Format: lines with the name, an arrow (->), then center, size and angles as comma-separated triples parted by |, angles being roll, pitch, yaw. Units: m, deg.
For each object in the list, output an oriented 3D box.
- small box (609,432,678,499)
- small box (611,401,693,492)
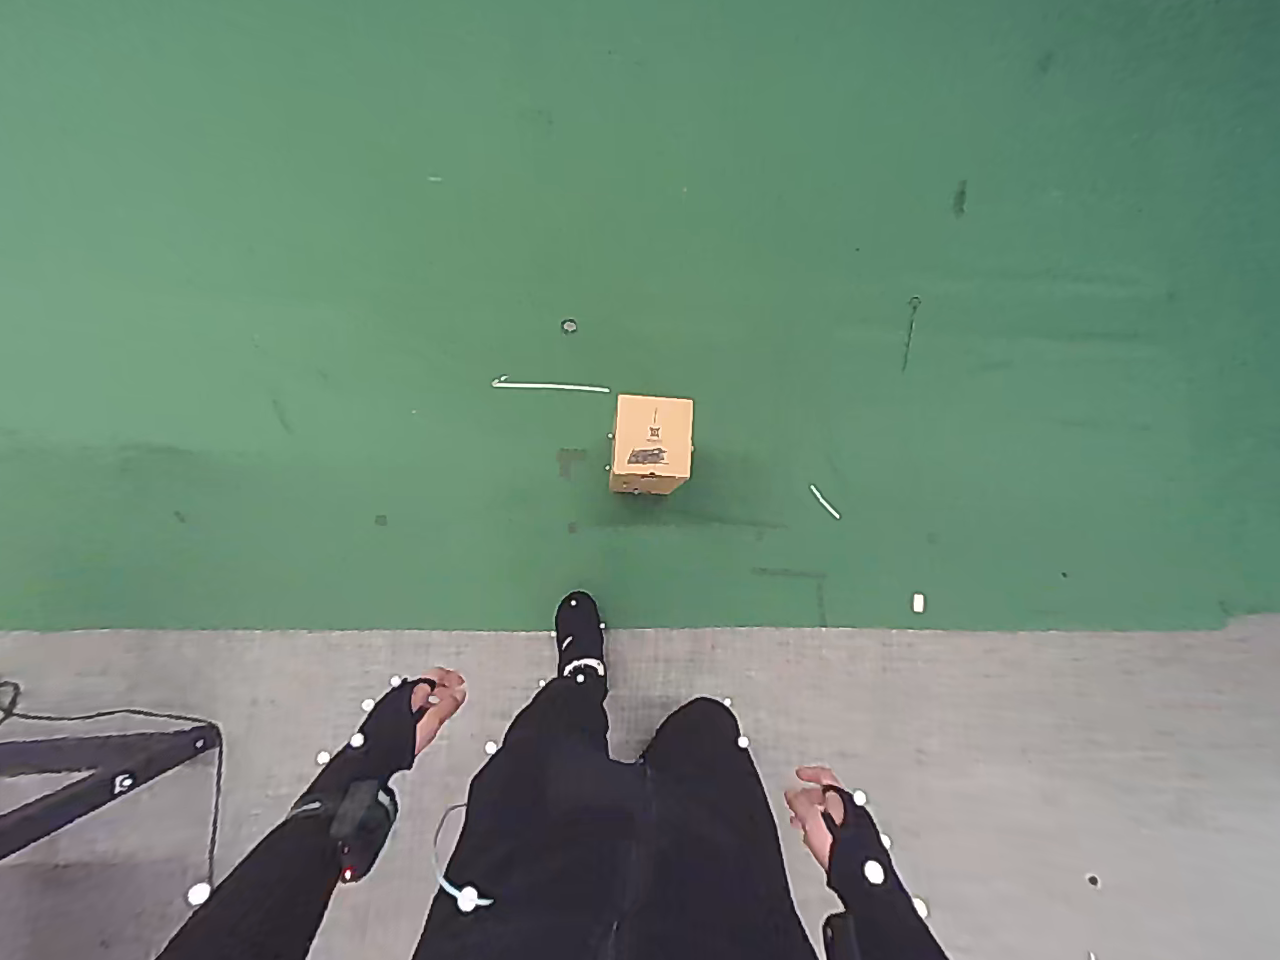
small box -> 0.008, -0.048, 1.396 | 0.168, 0.176, 0.179 | 3, 83, -5
small box -> 0.022, -0.070, 1.234 | 0.168, 0.176, 0.179 | 4, 82, -5
